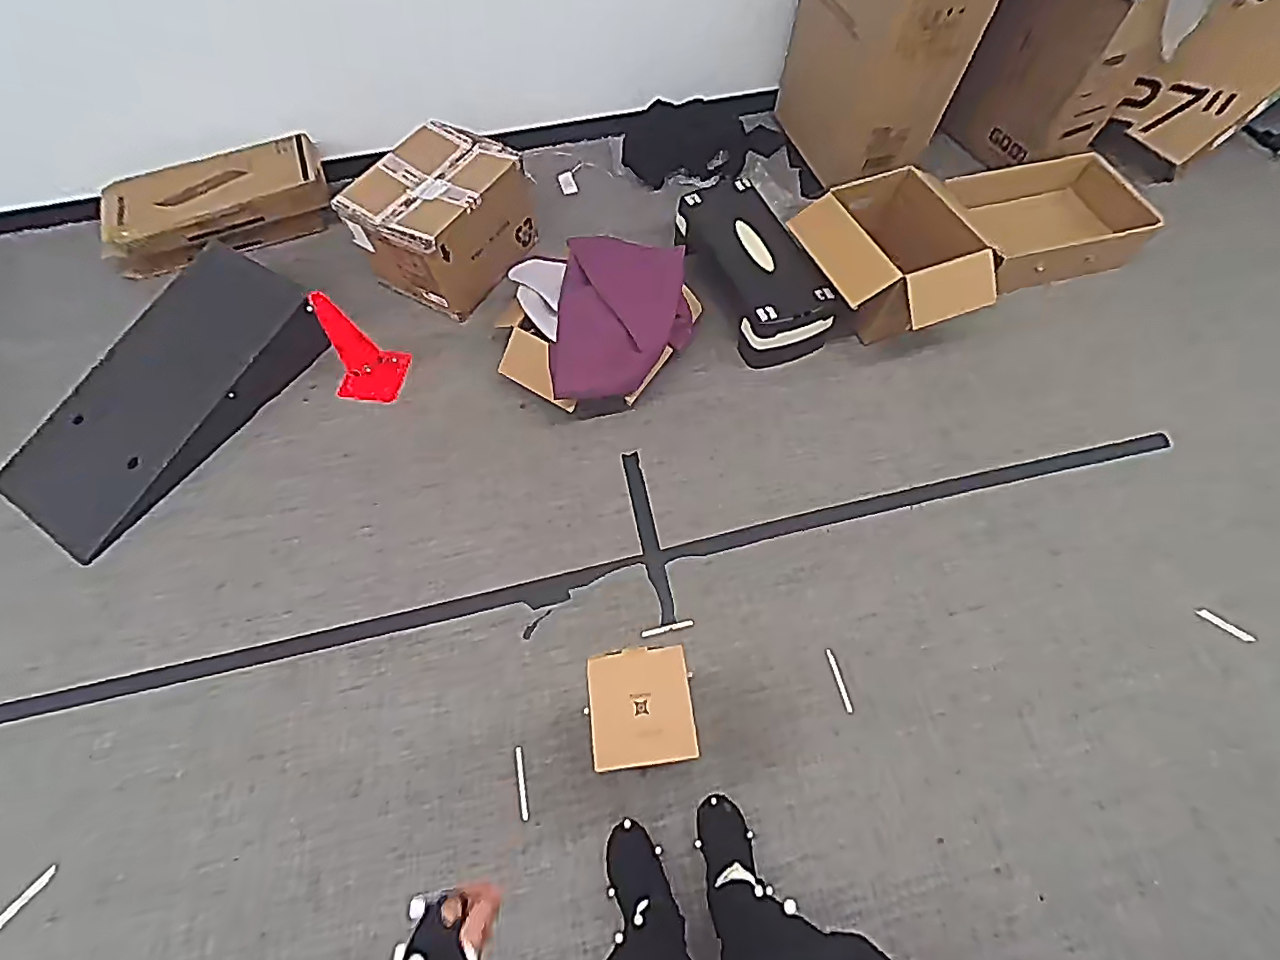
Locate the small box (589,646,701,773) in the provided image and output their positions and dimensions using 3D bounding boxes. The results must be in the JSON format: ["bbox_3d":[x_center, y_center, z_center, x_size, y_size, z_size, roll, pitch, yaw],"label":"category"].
[{"bbox_3d":[0.006,0.398,0.936,0.168,0.176,0.179,-7,65,-2],"label":"small box"}]
